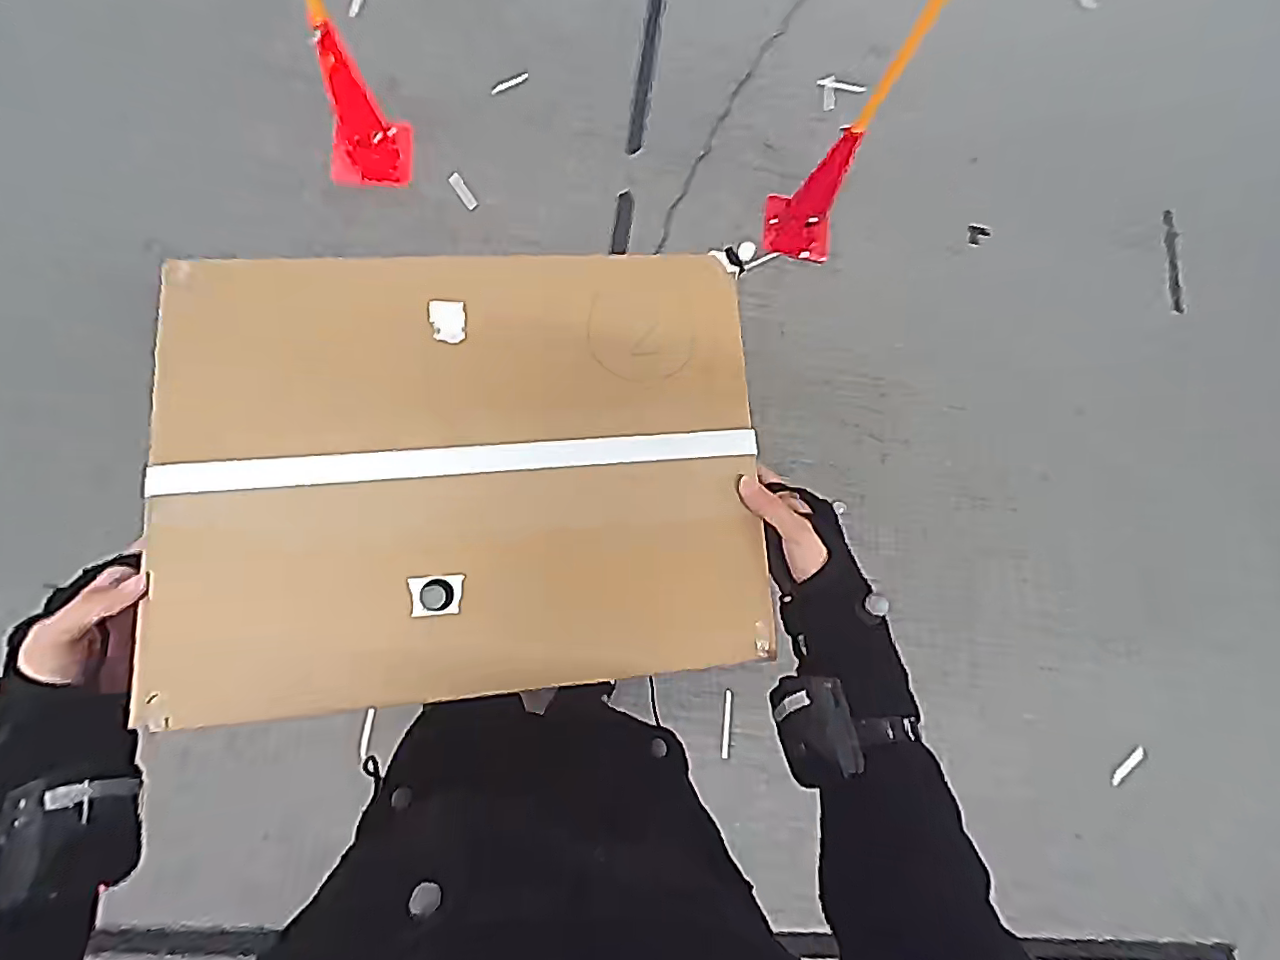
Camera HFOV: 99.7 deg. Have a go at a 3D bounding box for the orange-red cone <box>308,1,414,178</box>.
[{"bbox_3d":[-0.695,-0.938,1.288,0.199,0.360,0.198,-1,77,-7],"label":"orange-red cone"}]
